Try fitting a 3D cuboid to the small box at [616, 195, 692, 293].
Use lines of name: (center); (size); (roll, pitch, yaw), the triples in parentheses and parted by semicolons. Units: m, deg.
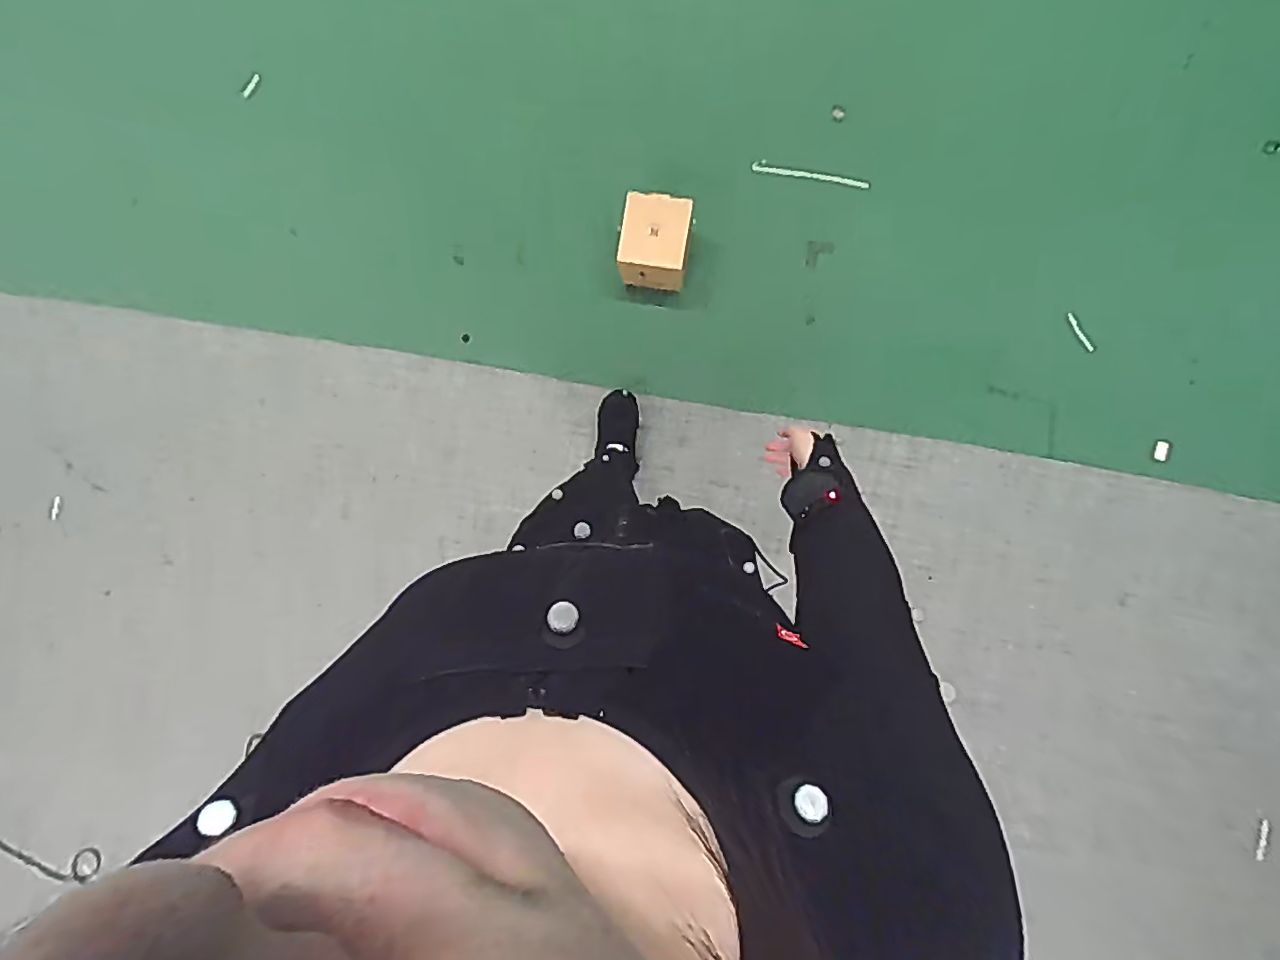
small box: (0.041, -0.604, 1.405); (0.168, 0.176, 0.179); (9, 90, 4)
